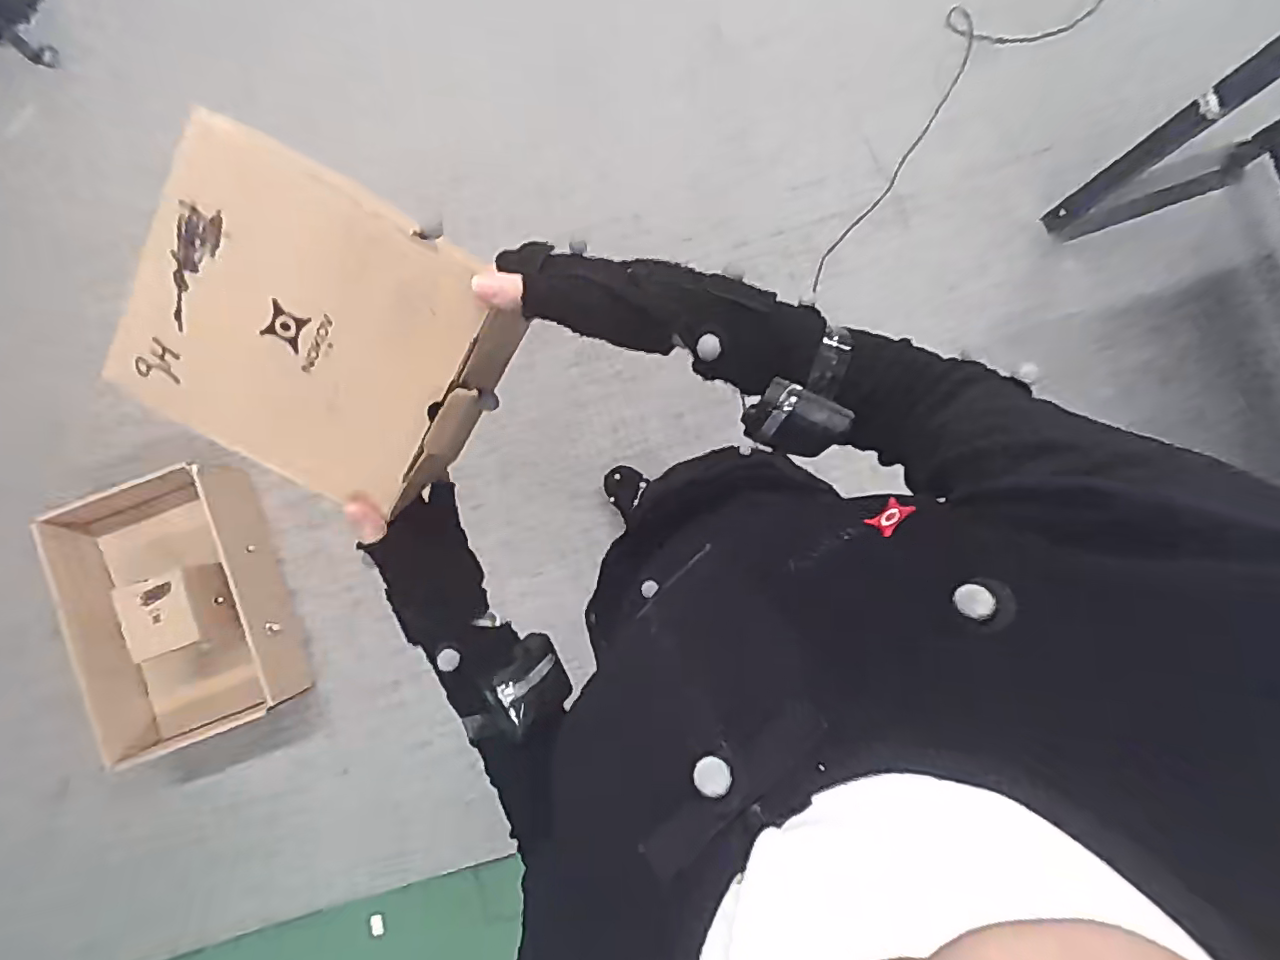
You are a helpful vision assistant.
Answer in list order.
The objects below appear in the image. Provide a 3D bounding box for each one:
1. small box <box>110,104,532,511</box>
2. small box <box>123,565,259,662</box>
[{"bbox_3d":[-0.194,-0.111,0.385,0.179,0.176,0.168,30,103,-12],"label":"small box"},{"bbox_3d":[-1.080,0.313,1.312,0.168,0.176,0.179,-19,88,1],"label":"small box"}]
